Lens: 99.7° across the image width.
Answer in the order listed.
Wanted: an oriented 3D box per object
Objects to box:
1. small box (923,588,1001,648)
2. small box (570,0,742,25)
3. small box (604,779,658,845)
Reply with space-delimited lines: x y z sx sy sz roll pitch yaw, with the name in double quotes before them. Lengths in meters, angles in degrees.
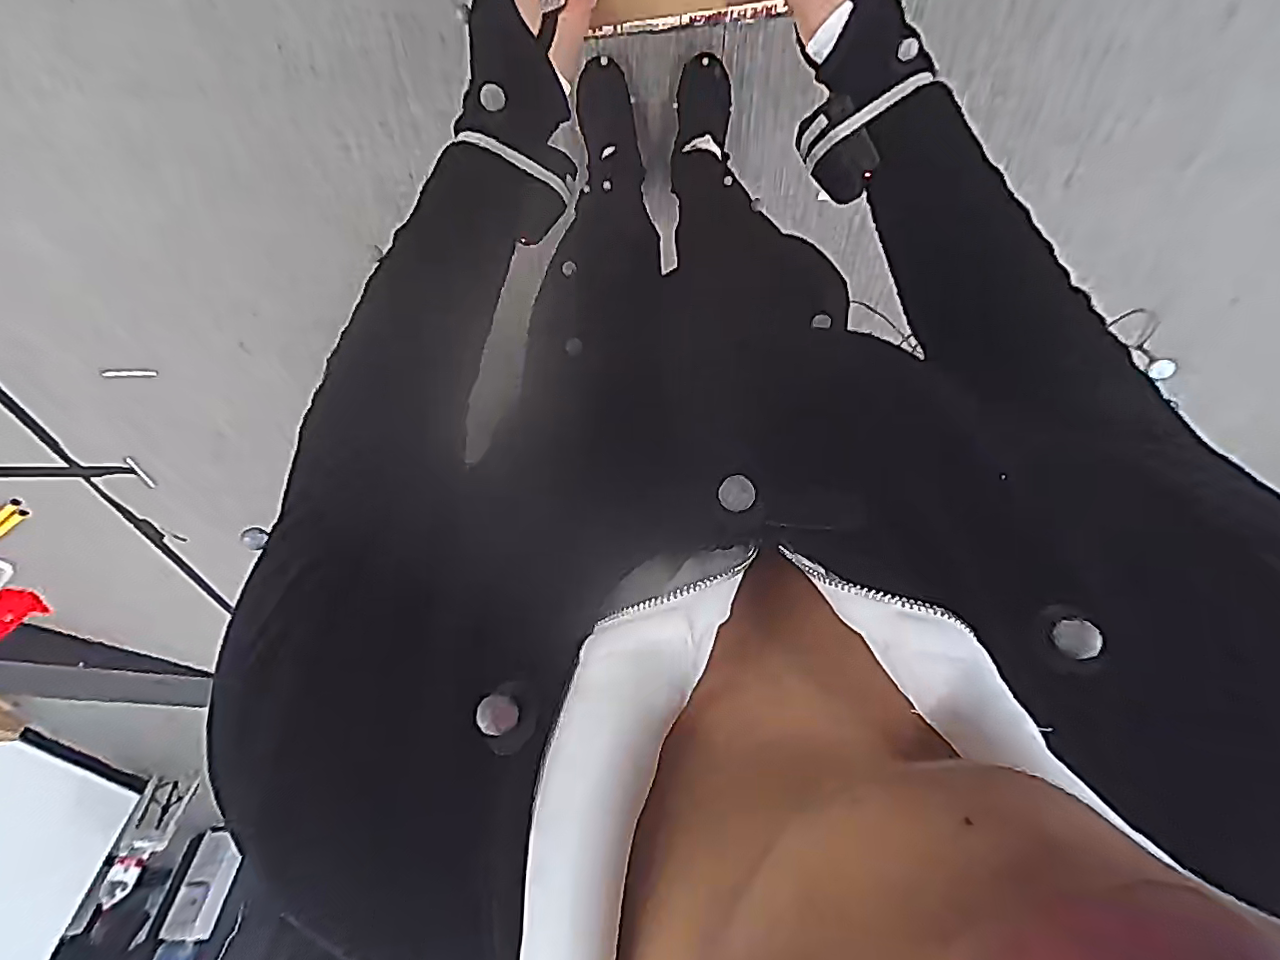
"small box" 1.238 0.534 2.098 0.179 0.176 0.168 2 136 -4
"small box" 0.020 -0.476 0.400 0.168 0.176 0.179 -3 140 7
"small box" -0.032 1.171 1.910 0.179 0.176 0.168 -5 136 3
